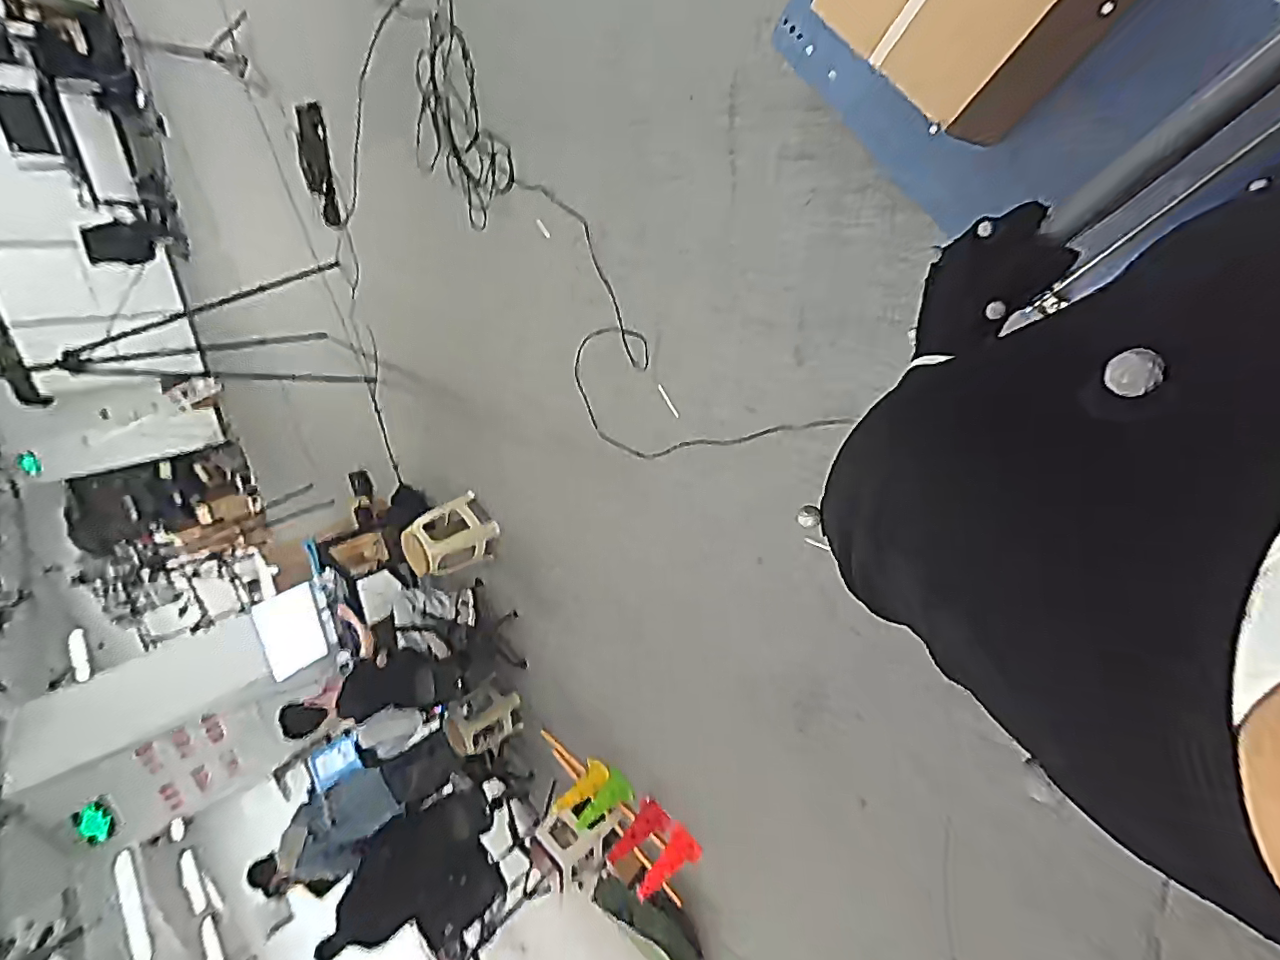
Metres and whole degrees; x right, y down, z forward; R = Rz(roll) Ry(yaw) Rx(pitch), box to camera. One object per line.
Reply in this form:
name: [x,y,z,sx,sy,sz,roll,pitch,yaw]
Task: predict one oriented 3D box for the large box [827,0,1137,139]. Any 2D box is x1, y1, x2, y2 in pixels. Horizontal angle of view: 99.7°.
large box: [0.577,-0.803,0.798,0.320,0.320,0.408,55,139,13]
